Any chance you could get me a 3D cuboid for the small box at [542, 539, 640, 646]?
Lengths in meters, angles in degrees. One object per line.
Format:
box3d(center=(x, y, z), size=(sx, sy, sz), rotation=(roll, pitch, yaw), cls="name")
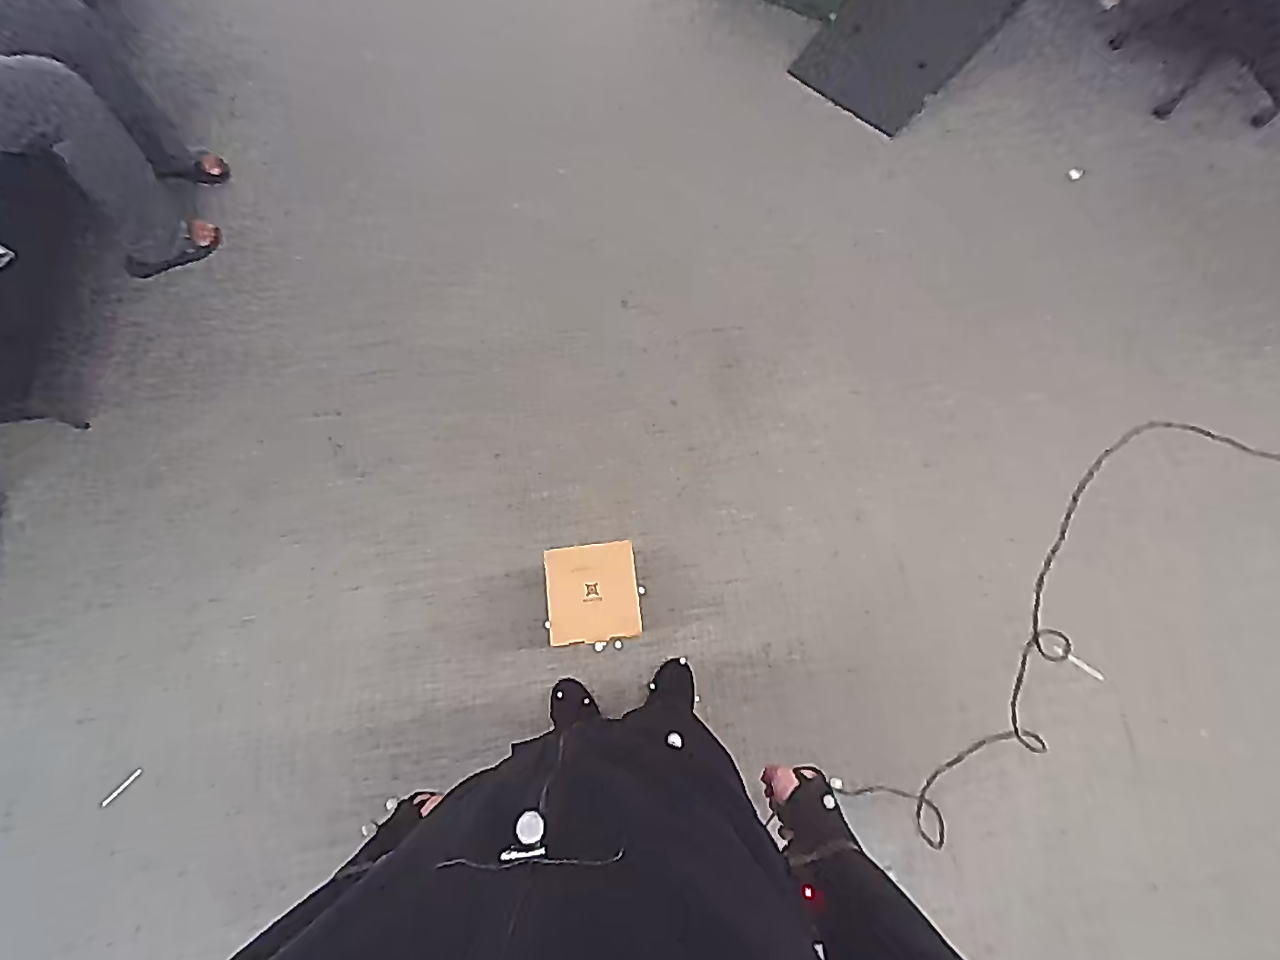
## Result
box3d(center=(-0.093, 0.223, 1.052), size=(0.168, 0.176, 0.179), rotation=(-7, 72, -5), cls="small box")
